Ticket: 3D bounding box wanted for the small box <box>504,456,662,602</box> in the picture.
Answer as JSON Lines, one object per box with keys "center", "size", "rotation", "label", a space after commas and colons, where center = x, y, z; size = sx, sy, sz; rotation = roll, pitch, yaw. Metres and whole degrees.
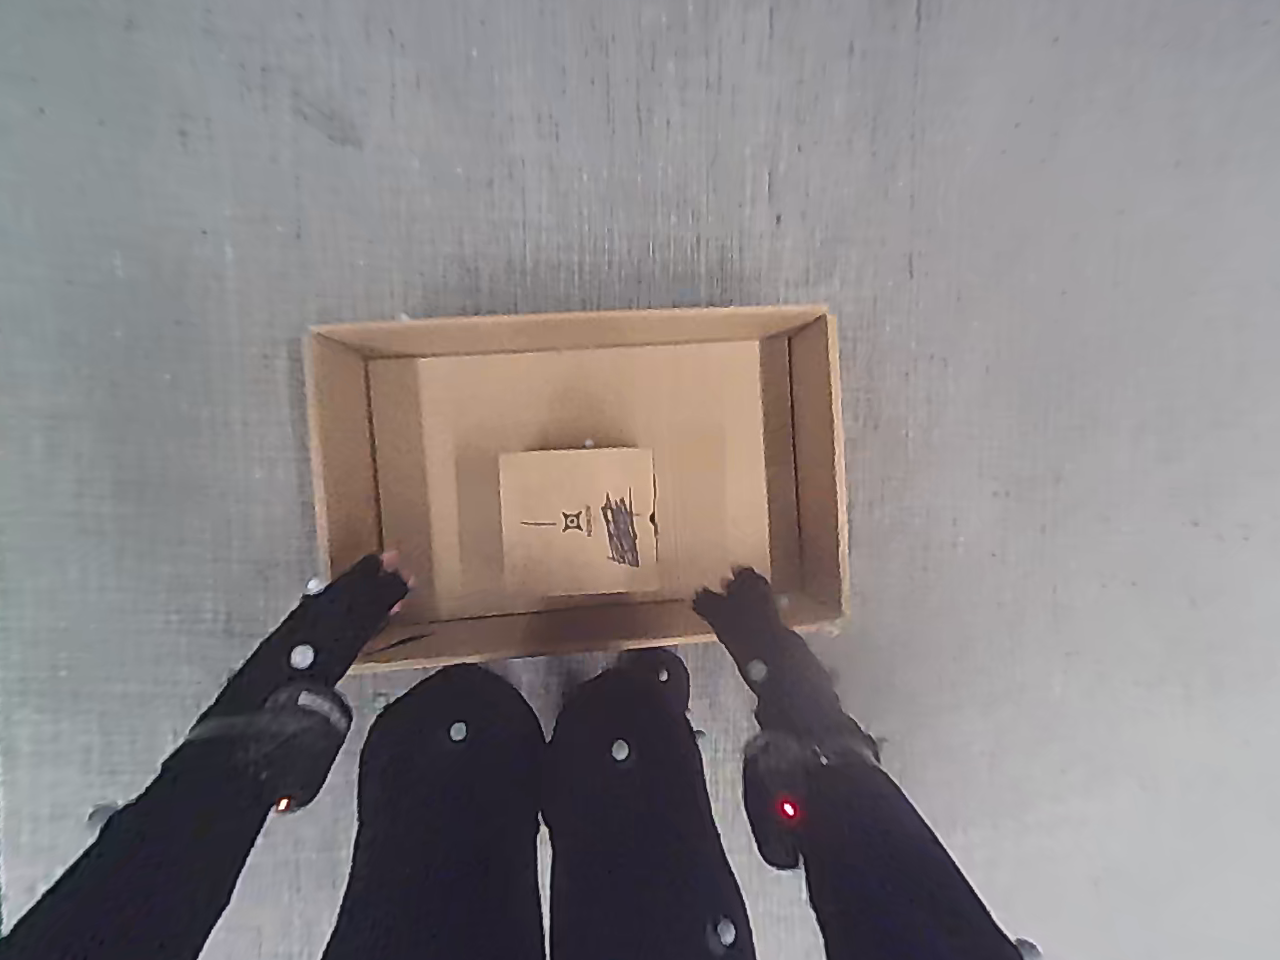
{"center": [-0.069, 0.053, 0.699], "size": [0.179, 0.176, 0.168], "rotation": [-3, 91, -2], "label": "small box"}
